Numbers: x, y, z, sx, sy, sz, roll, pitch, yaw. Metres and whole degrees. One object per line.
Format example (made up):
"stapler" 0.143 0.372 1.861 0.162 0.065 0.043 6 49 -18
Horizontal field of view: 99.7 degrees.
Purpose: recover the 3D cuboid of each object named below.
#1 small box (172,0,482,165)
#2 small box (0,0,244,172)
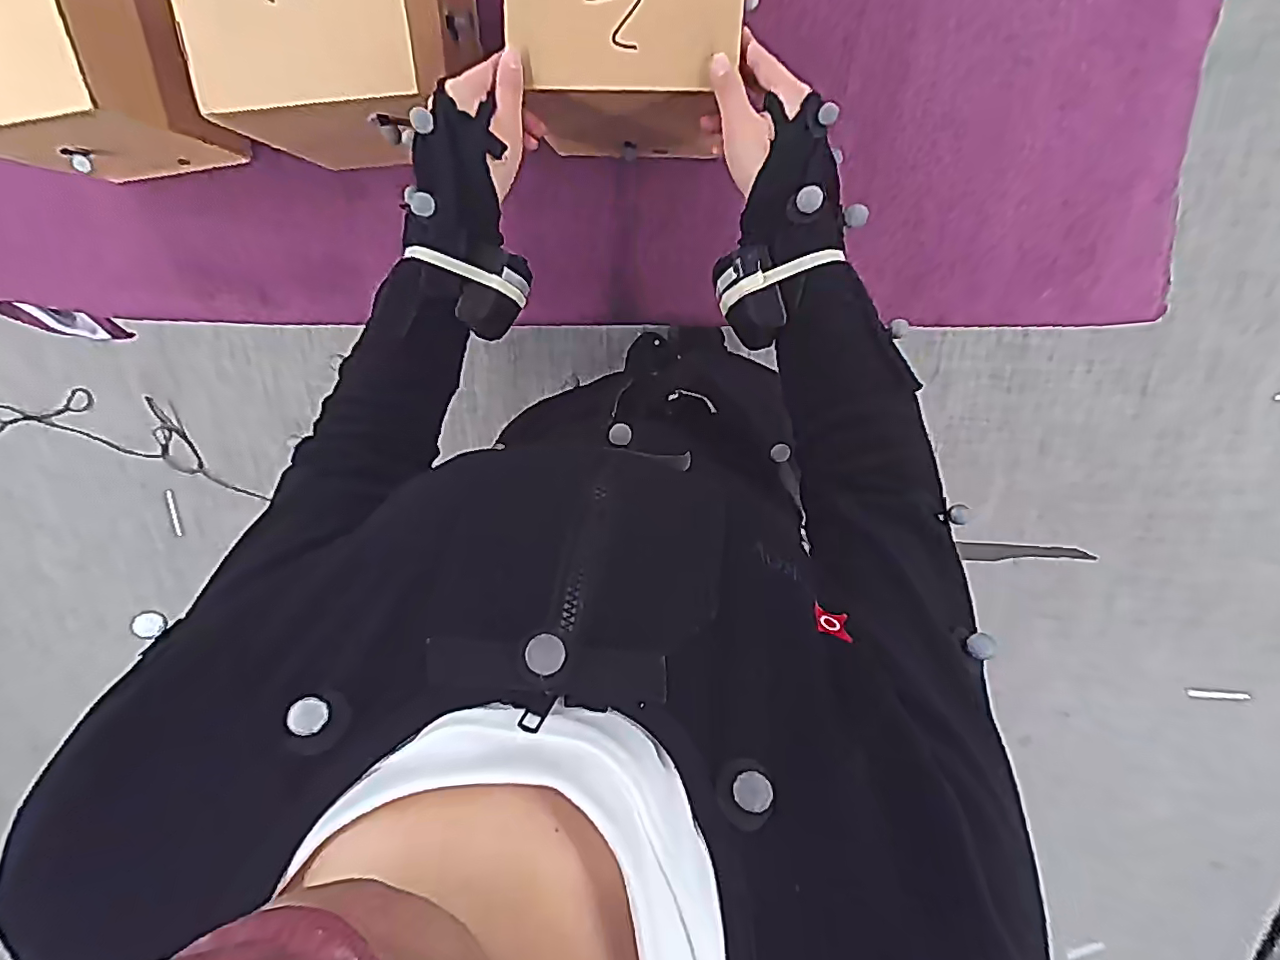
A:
"small box" -0.244 -0.381 0.451 0.179 0.176 0.168 -2 106 5
"small box" -0.499 -0.387 0.473 0.168 0.176 0.179 -5 106 6
